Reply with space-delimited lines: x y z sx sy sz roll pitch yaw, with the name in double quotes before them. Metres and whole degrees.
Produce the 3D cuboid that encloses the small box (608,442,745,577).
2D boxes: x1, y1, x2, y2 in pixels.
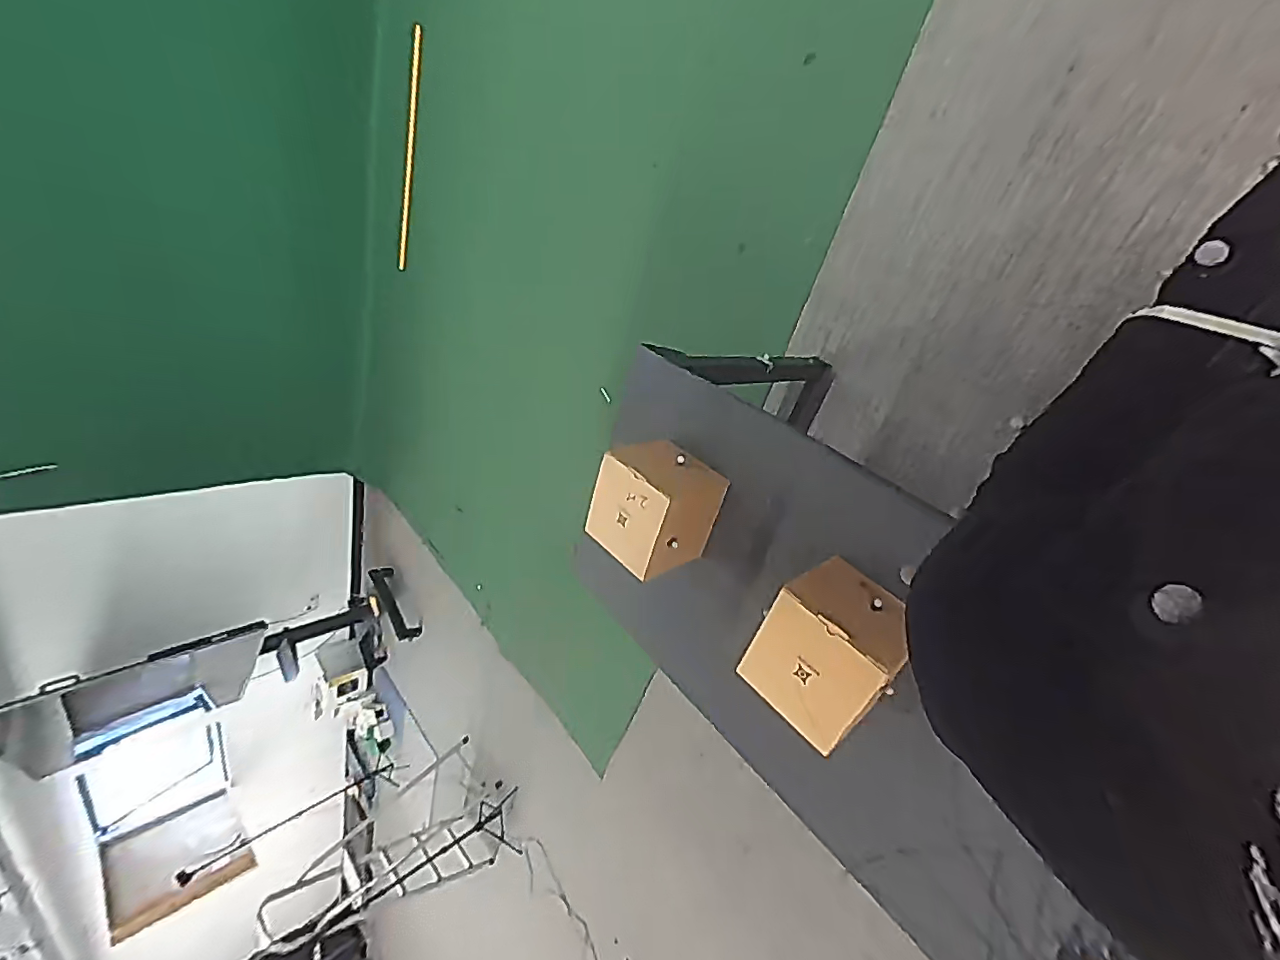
"small box" 0.069 0.047 1.009 0.168 0.176 0.179 37 124 34
